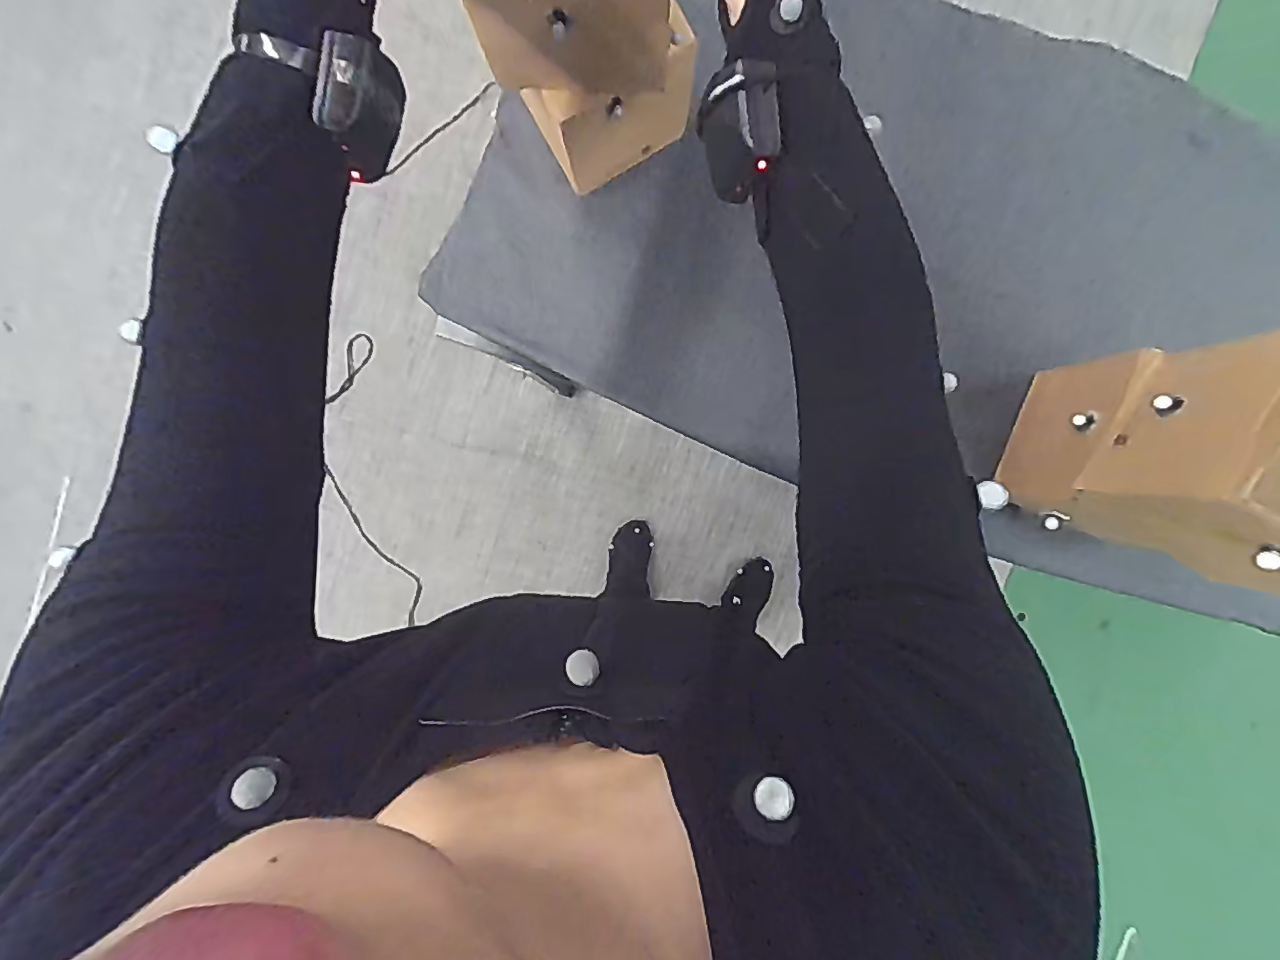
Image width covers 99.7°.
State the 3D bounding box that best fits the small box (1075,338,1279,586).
[{"bbox_3d":[0.552,-0.013,0.470,0.179,0.176,0.168,32,92,2],"label":"small box"}]

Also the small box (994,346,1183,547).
[{"bbox_3d":[0.561,-0.032,0.632,0.168,0.176,0.179,21,93,2],"label":"small box"}]

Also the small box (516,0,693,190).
[{"bbox_3d":[-0.055,-0.487,0.629,0.168,0.176,0.179,-30,92,3],"label":"small box"}]

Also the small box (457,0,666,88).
[{"bbox_3d":[-0.062,-0.474,0.465,0.179,0.176,0.168,2,93,2],"label":"small box"}]
